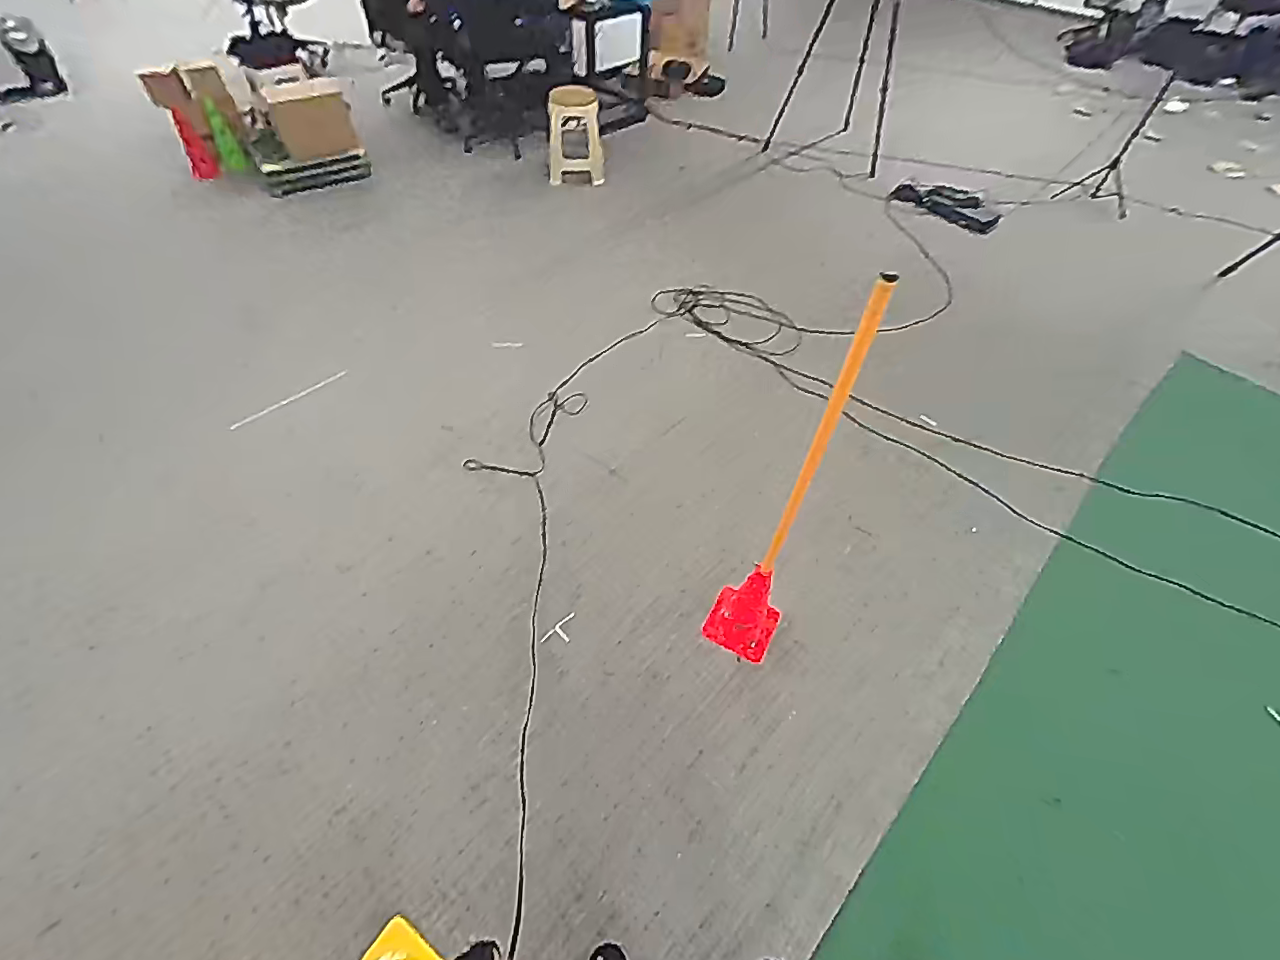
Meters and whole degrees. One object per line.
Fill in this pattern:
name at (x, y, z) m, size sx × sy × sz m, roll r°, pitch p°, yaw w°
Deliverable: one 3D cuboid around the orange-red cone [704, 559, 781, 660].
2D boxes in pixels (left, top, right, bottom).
orange-red cone at (0.327, 0.329, 1.542) m, size 0.198 × 0.360 × 0.199 m, roll 26°, pitch 54°, yaw 16°
